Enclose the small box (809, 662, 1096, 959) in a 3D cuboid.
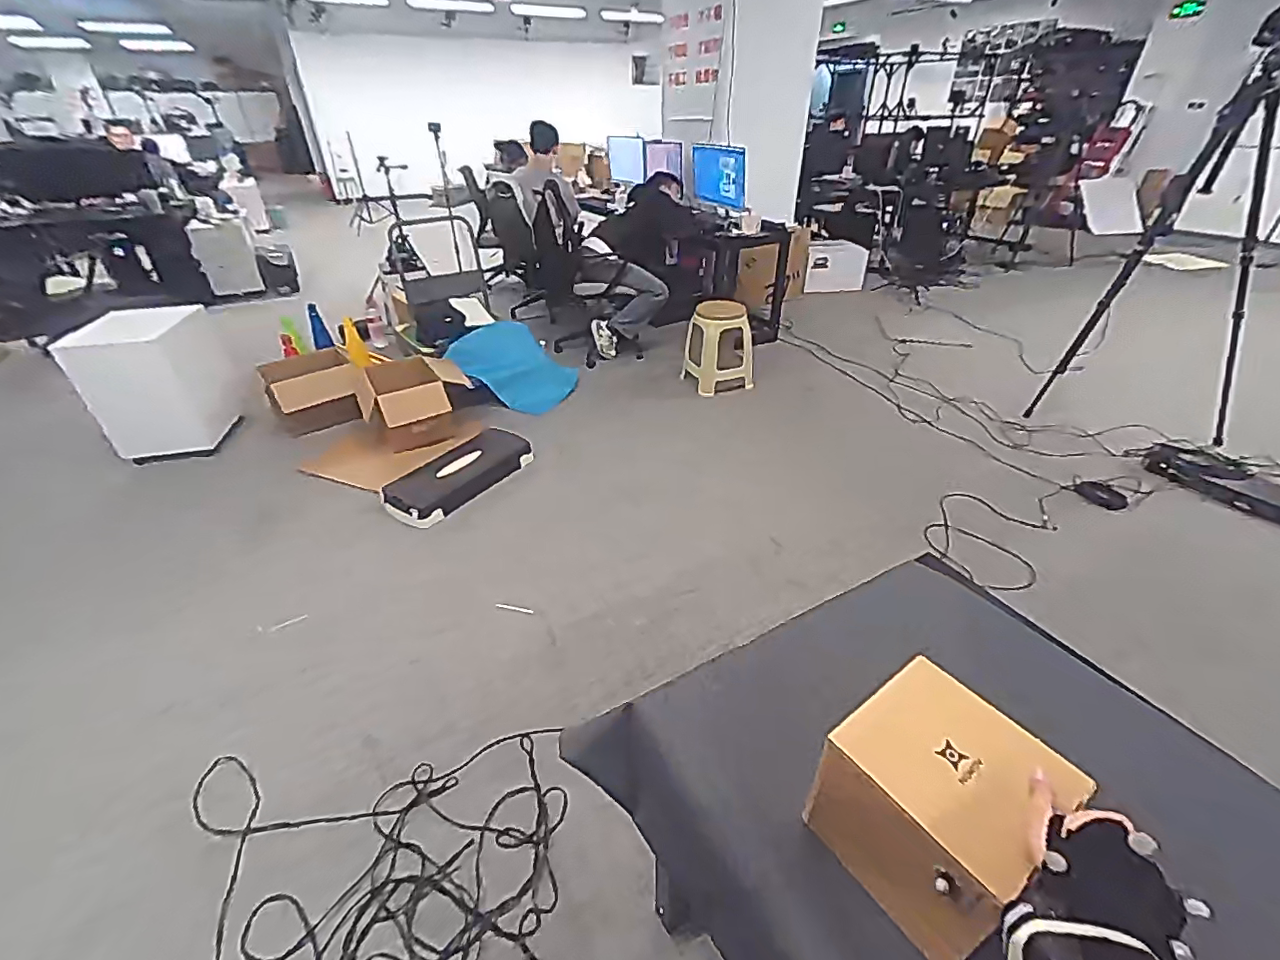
[{"bbox_3d":[0.300,0.334,0.554,0.168,0.176,0.179,-22,41,-29],"label":"small box"}]
